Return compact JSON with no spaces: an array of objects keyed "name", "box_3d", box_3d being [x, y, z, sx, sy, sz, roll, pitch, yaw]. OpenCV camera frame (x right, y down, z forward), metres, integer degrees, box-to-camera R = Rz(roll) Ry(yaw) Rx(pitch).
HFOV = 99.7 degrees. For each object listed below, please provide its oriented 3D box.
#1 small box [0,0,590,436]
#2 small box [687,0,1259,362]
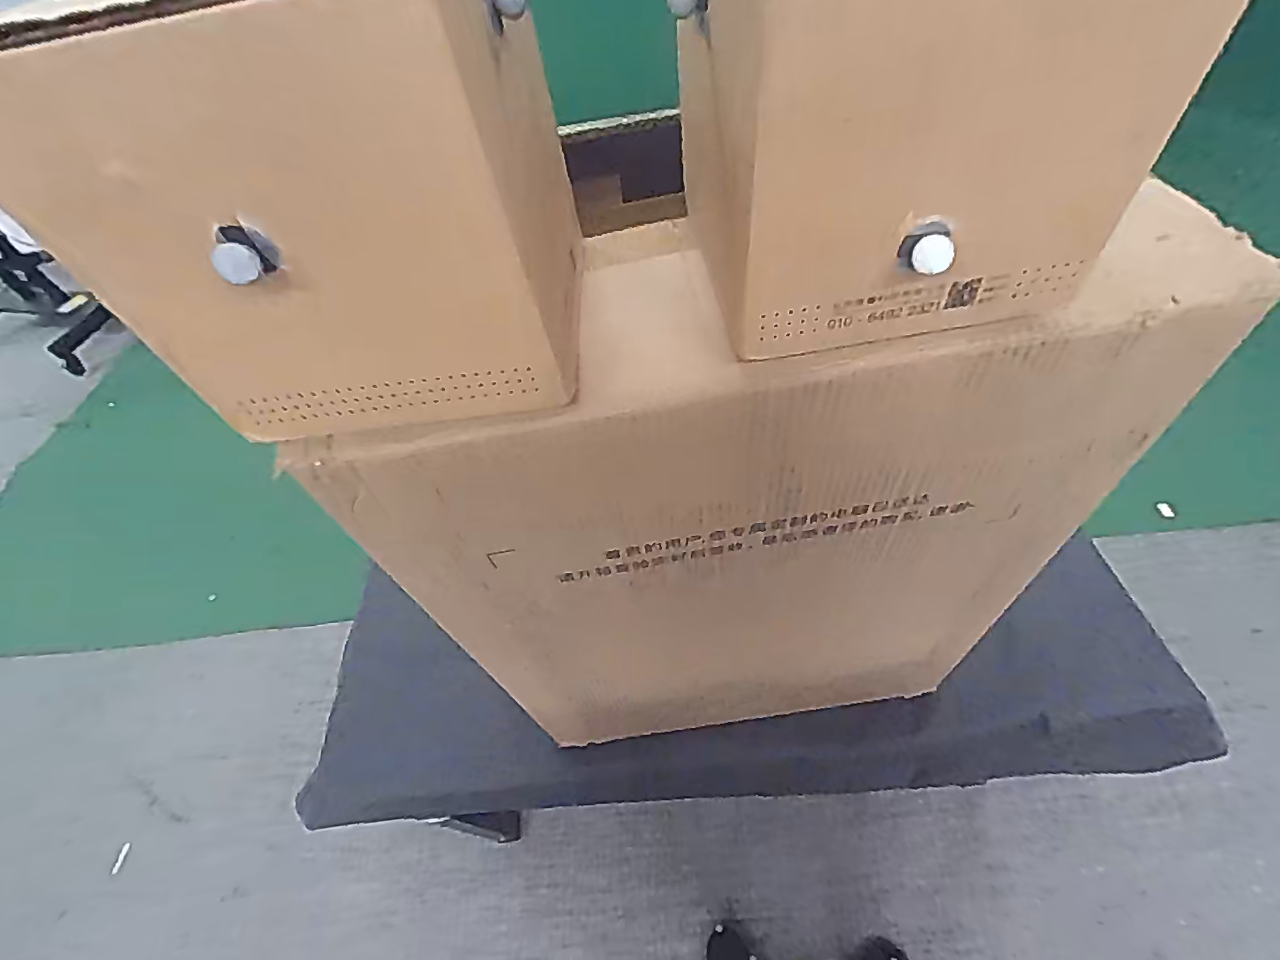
[{"name":"small box","box_3d":[-0.130,-0.137,0.264,0.179,0.176,0.168,-7,52,5]},{"name":"small box","box_3d":[0.115,-0.184,0.260,0.168,0.176,0.179,-9,52,1]}]
